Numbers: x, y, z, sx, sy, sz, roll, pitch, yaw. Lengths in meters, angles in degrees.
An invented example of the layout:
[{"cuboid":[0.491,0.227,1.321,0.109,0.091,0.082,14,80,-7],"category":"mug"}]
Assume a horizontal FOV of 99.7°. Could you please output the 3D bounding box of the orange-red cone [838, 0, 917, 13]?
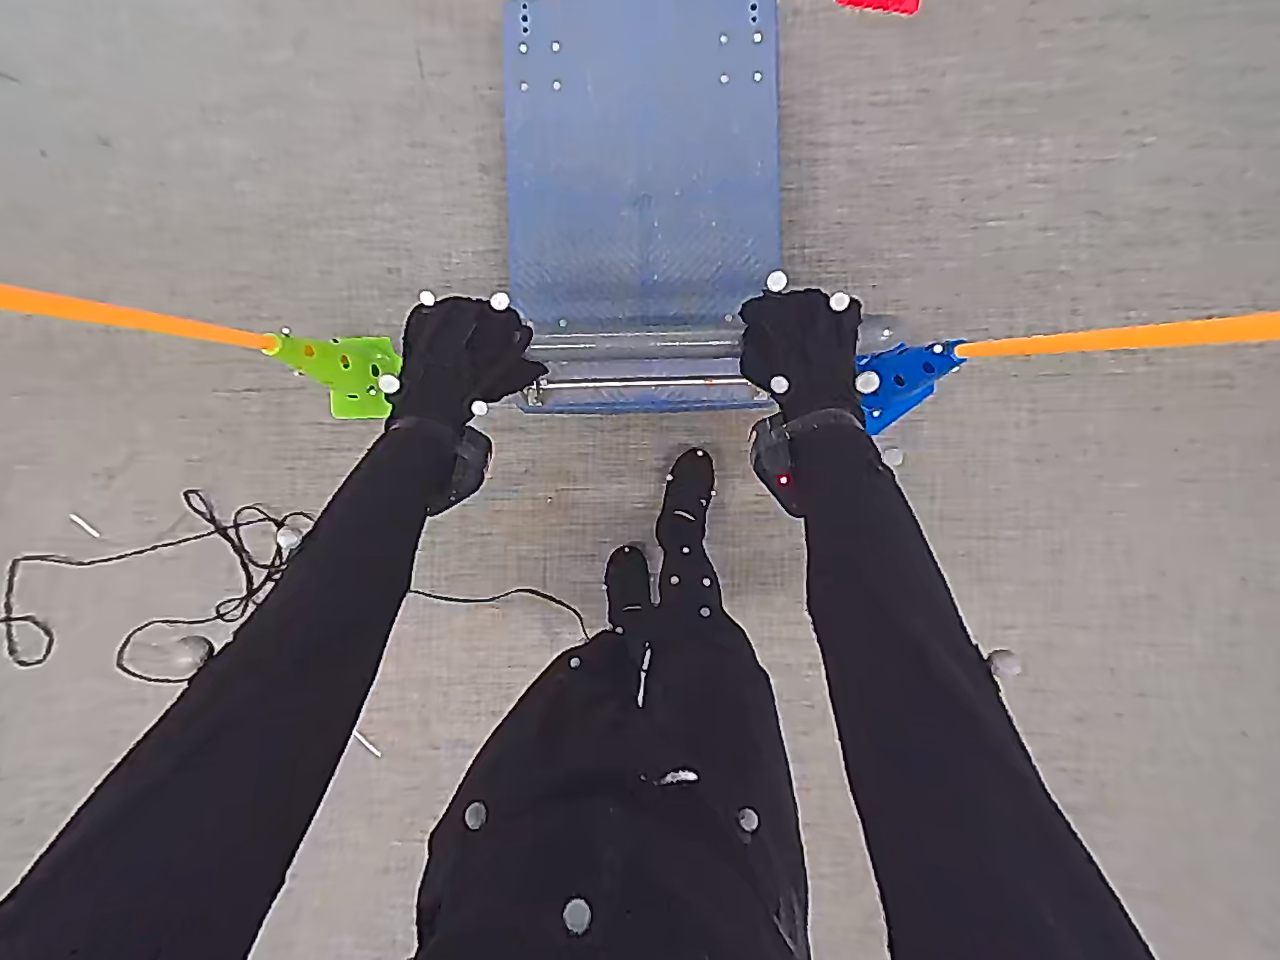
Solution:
[{"cuboid":[0.569,-1.218,1.118,0.198,0.360,0.199,10,92,2],"category":"orange-red cone"}]
